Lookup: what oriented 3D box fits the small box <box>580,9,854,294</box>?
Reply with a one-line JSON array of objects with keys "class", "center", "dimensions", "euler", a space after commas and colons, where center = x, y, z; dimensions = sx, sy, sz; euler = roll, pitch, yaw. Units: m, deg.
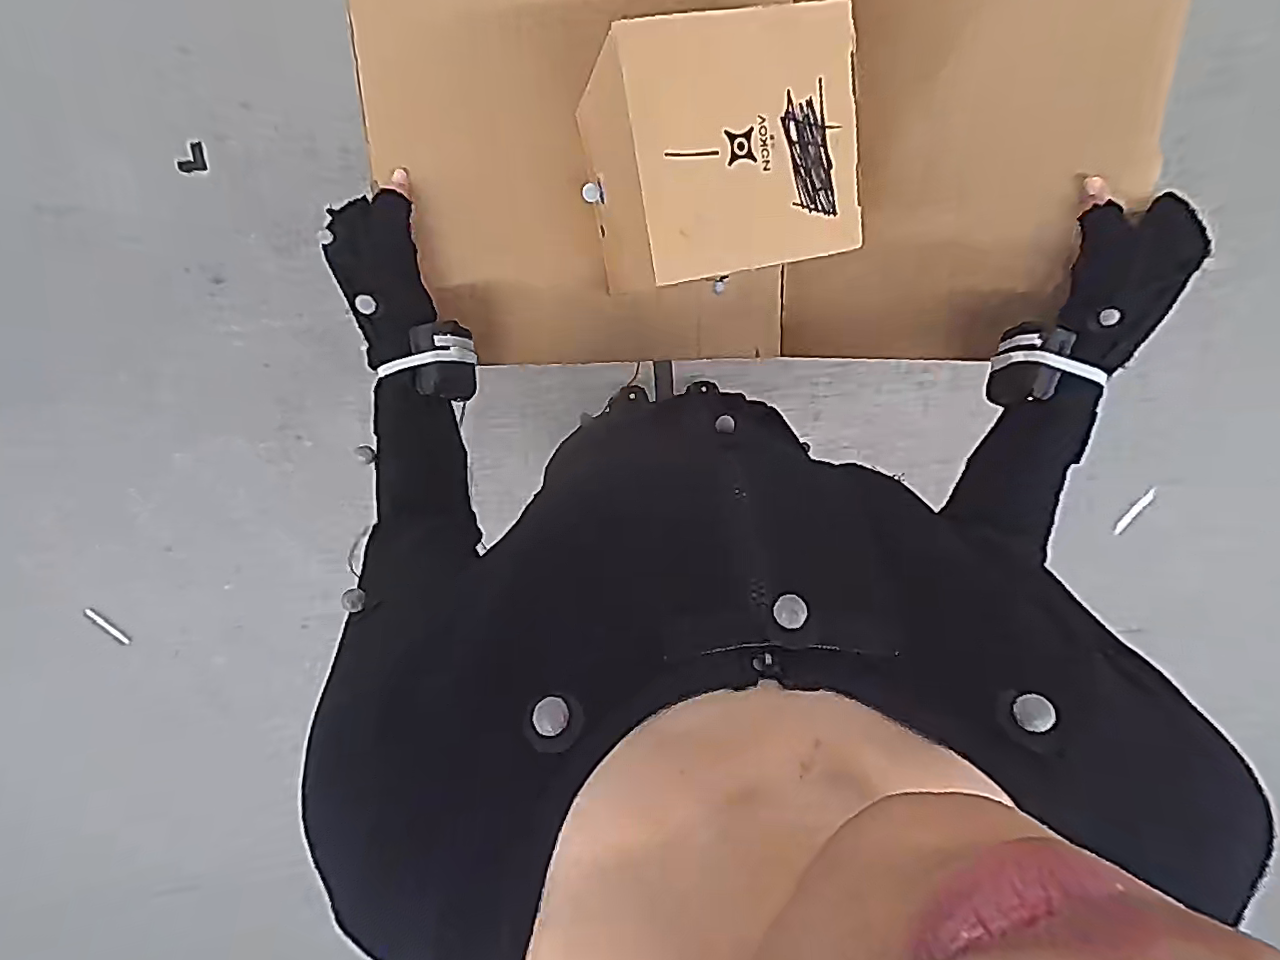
[{"class": "small box", "center": [0.058, -0.264, 0.471], "dimensions": [0.179, 0.176, 0.168], "euler": [-15, 109, -10]}]
